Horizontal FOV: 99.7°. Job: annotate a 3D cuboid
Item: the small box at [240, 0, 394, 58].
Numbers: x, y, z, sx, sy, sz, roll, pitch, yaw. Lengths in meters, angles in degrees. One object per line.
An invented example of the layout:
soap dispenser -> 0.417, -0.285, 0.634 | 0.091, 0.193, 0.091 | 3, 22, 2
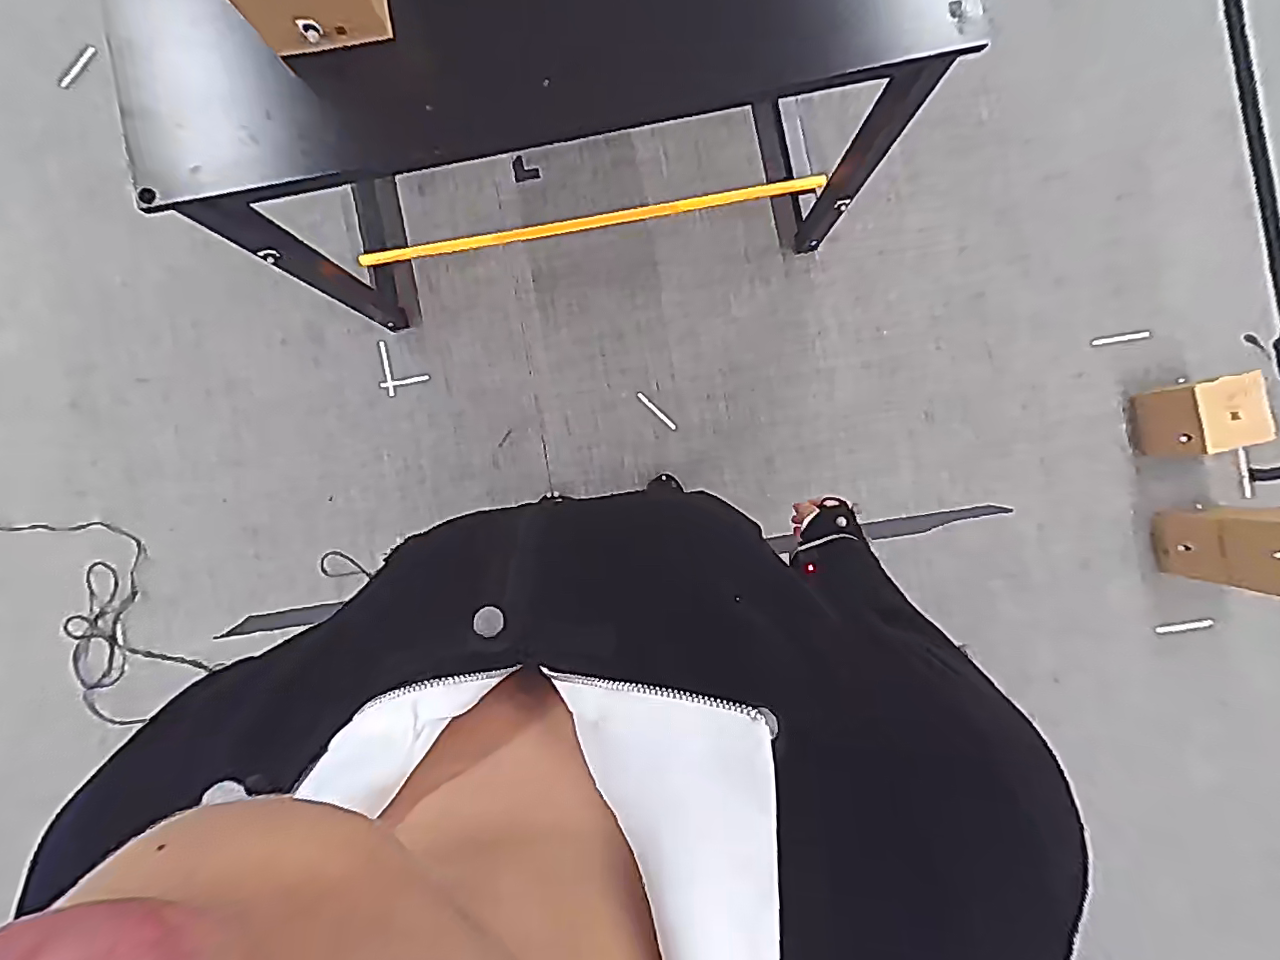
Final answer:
small box -> -0.436, -0.686, 0.676 | 0.168, 0.176, 0.179 | -10, 91, 2

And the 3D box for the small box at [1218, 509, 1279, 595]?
small box -> 1.479, 0.162, 1.225 | 0.168, 0.176, 0.179 | -10, 92, 1

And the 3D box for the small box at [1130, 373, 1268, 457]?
small box -> 1.419, -0.159, 1.383 | 0.168, 0.176, 0.179 | -13, 90, 1

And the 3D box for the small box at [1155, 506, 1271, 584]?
small box -> 1.481, 0.163, 1.391 | 0.179, 0.176, 0.168 | -8, 91, 2
